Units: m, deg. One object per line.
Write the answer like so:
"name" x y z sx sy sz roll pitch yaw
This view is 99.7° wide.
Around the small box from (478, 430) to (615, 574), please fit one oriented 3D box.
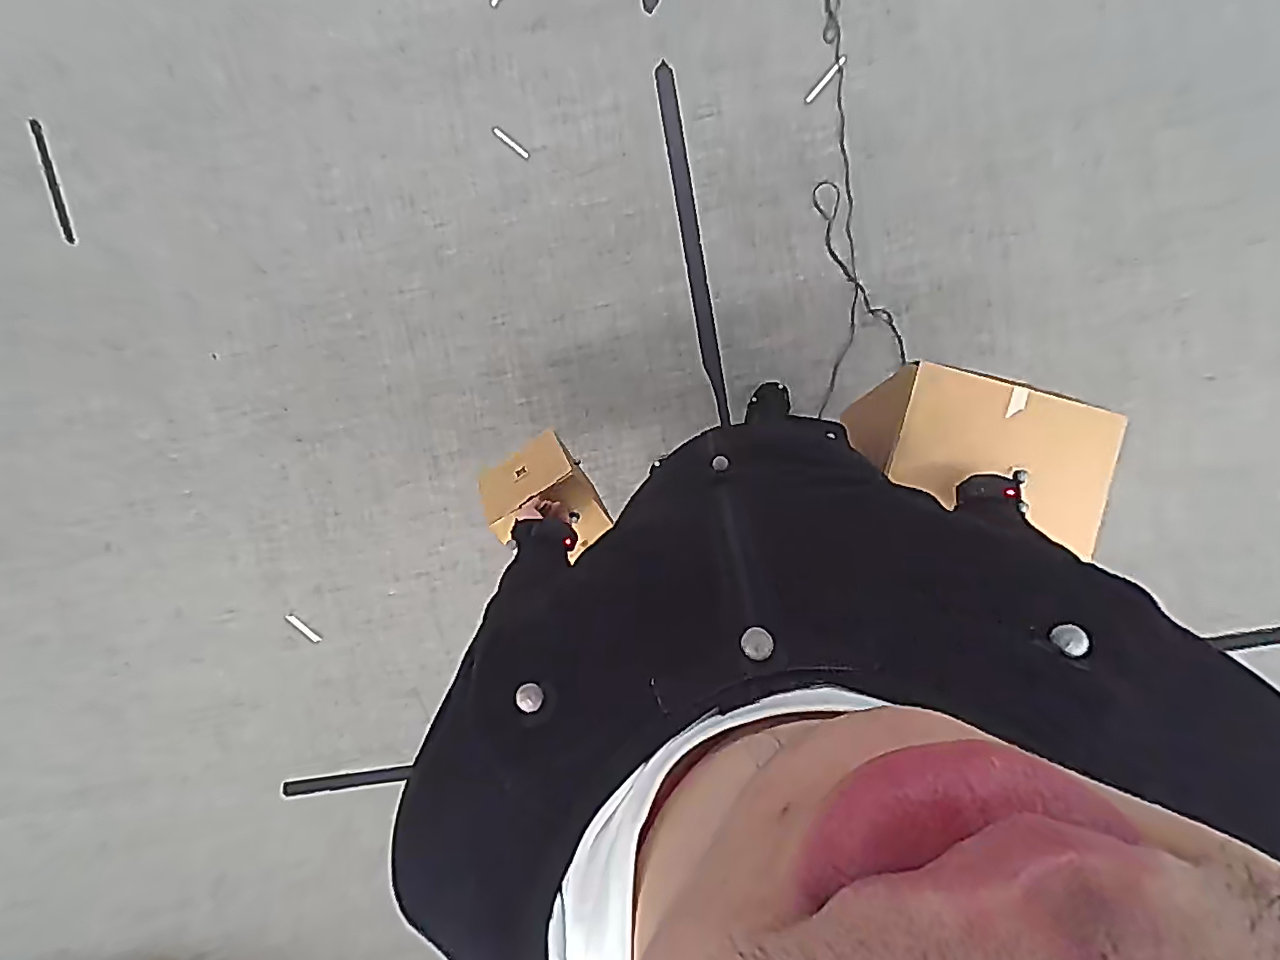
"small box" -0.168 0.047 0.985 0.168 0.179 0.176 -33 127 -2
